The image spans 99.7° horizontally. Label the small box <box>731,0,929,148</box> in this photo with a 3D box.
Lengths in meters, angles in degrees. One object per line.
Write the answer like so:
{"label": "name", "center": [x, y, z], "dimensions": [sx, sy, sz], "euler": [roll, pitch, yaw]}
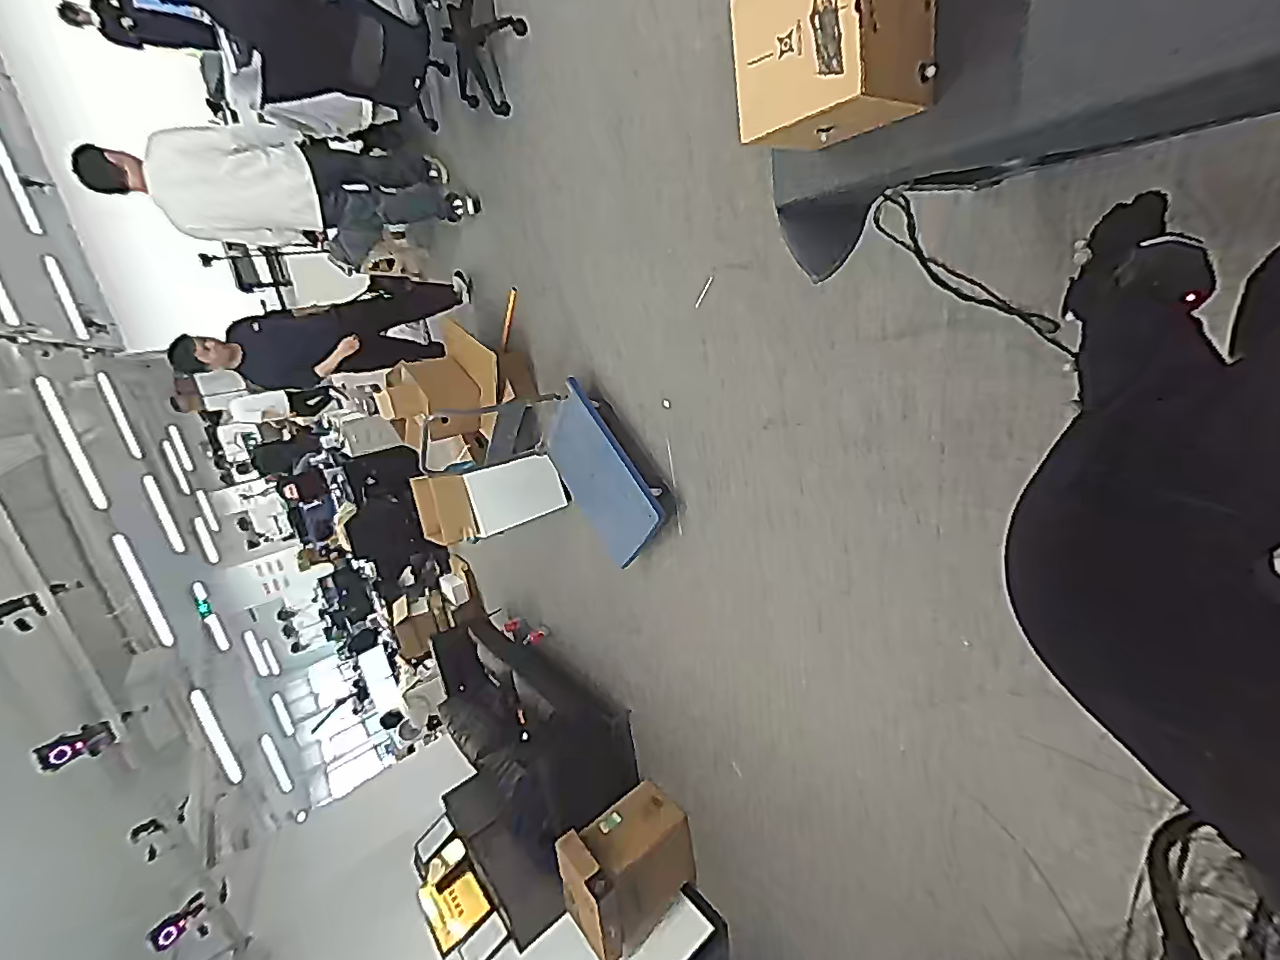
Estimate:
{"label": "small box", "center": [0.241, -0.534, 0.676], "dimensions": [0.179, 0.176, 0.168], "euler": [14, 118, 50]}
